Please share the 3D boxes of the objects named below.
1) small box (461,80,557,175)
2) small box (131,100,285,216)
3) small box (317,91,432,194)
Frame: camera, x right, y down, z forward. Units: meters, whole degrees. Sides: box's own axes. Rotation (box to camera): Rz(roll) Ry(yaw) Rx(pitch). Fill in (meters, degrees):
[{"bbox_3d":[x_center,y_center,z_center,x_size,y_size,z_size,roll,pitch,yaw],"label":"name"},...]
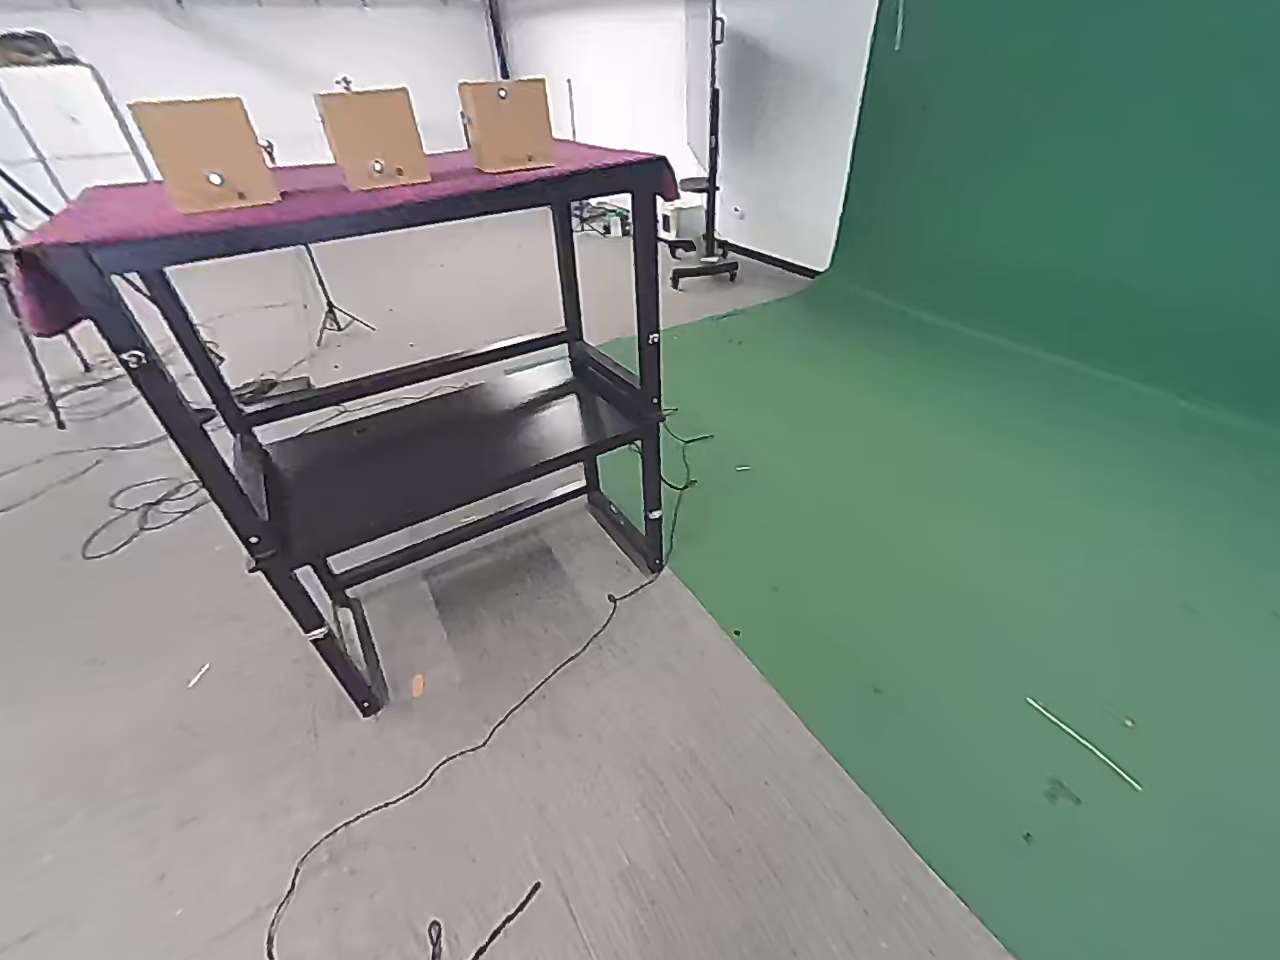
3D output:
[{"bbox_3d":[-0.302,-0.811,1.248,0.168,0.176,0.179,-17,38,-16],"label":"small box"},{"bbox_3d":[-0.792,-0.600,1.008,0.168,0.176,0.179,-23,42,-24],"label":"small box"},{"bbox_3d":[-0.556,-0.710,1.137,0.168,0.176,0.179,-21,41,-21],"label":"small box"}]
